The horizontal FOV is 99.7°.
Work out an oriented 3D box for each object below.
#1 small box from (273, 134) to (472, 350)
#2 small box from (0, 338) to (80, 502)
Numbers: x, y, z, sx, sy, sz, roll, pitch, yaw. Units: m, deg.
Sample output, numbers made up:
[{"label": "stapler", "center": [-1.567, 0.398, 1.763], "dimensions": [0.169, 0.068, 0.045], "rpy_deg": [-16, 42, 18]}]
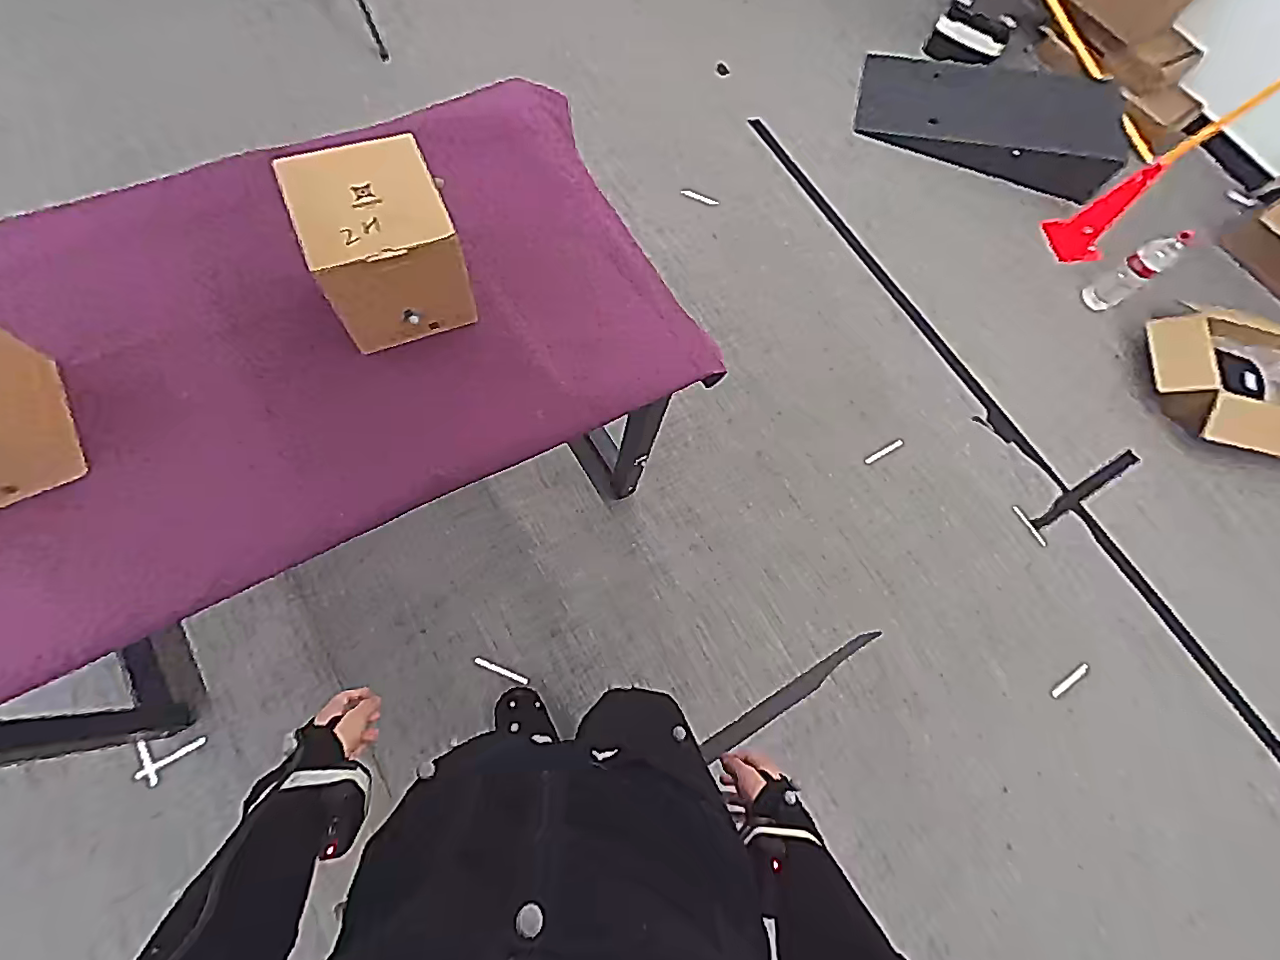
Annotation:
[{"label": "small box", "center": [-0.337, -0.305, 0.712], "dimensions": [0.168, 0.176, 0.179], "rpy_deg": [-22, 75, -15]}, {"label": "small box", "center": [-0.757, -0.068, 0.566], "dimensions": [0.168, 0.176, 0.179], "rpy_deg": [-27, 76, -16]}]
